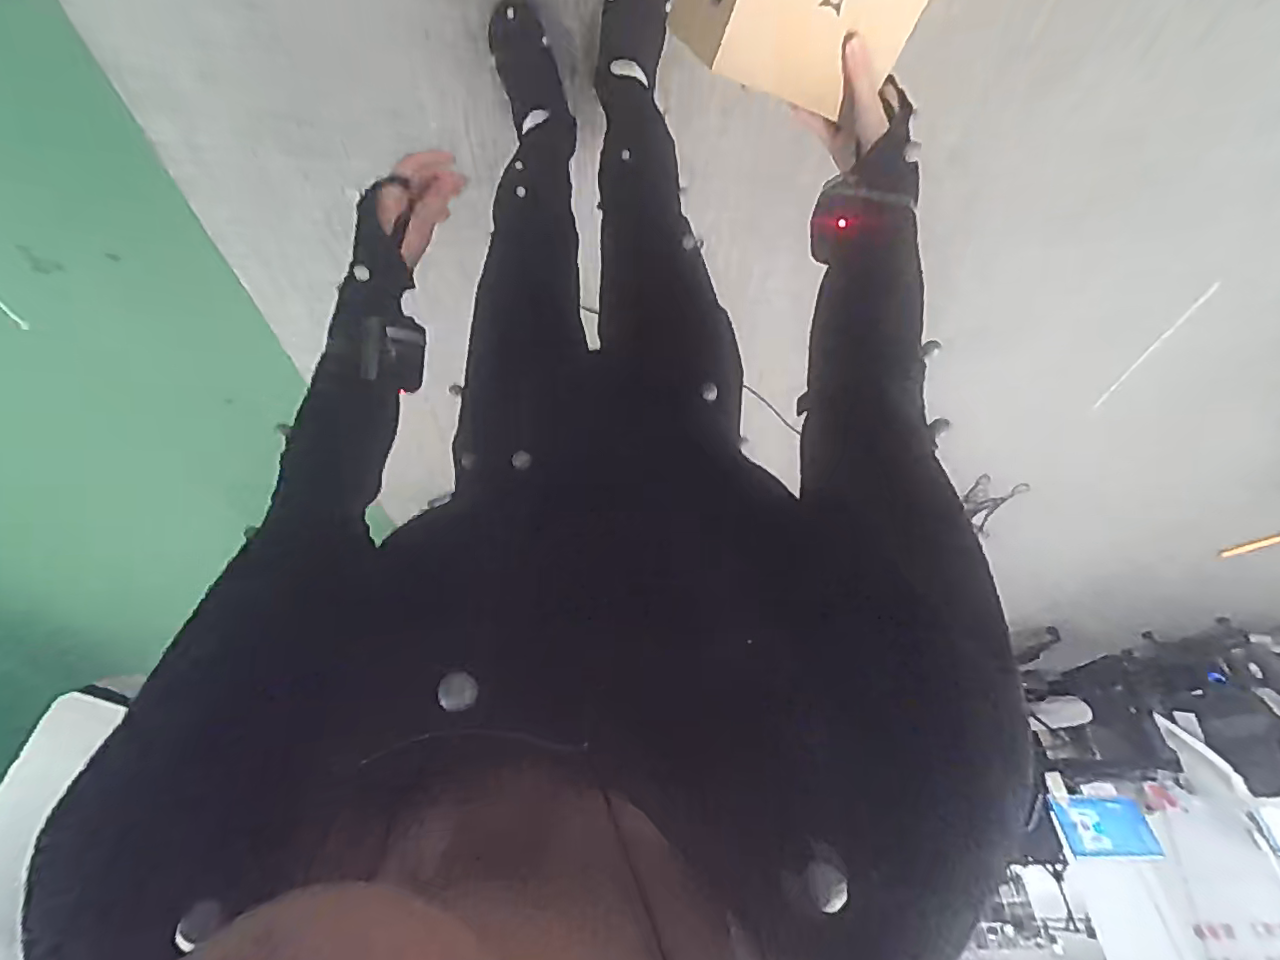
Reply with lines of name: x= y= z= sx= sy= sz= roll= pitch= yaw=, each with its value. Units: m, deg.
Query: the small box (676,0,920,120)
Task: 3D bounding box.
small box: x=0.144 y=-0.470 z=0.484 sx=0.168 sy=0.176 sz=0.179 roll=4 pitch=137 yaw=-23
